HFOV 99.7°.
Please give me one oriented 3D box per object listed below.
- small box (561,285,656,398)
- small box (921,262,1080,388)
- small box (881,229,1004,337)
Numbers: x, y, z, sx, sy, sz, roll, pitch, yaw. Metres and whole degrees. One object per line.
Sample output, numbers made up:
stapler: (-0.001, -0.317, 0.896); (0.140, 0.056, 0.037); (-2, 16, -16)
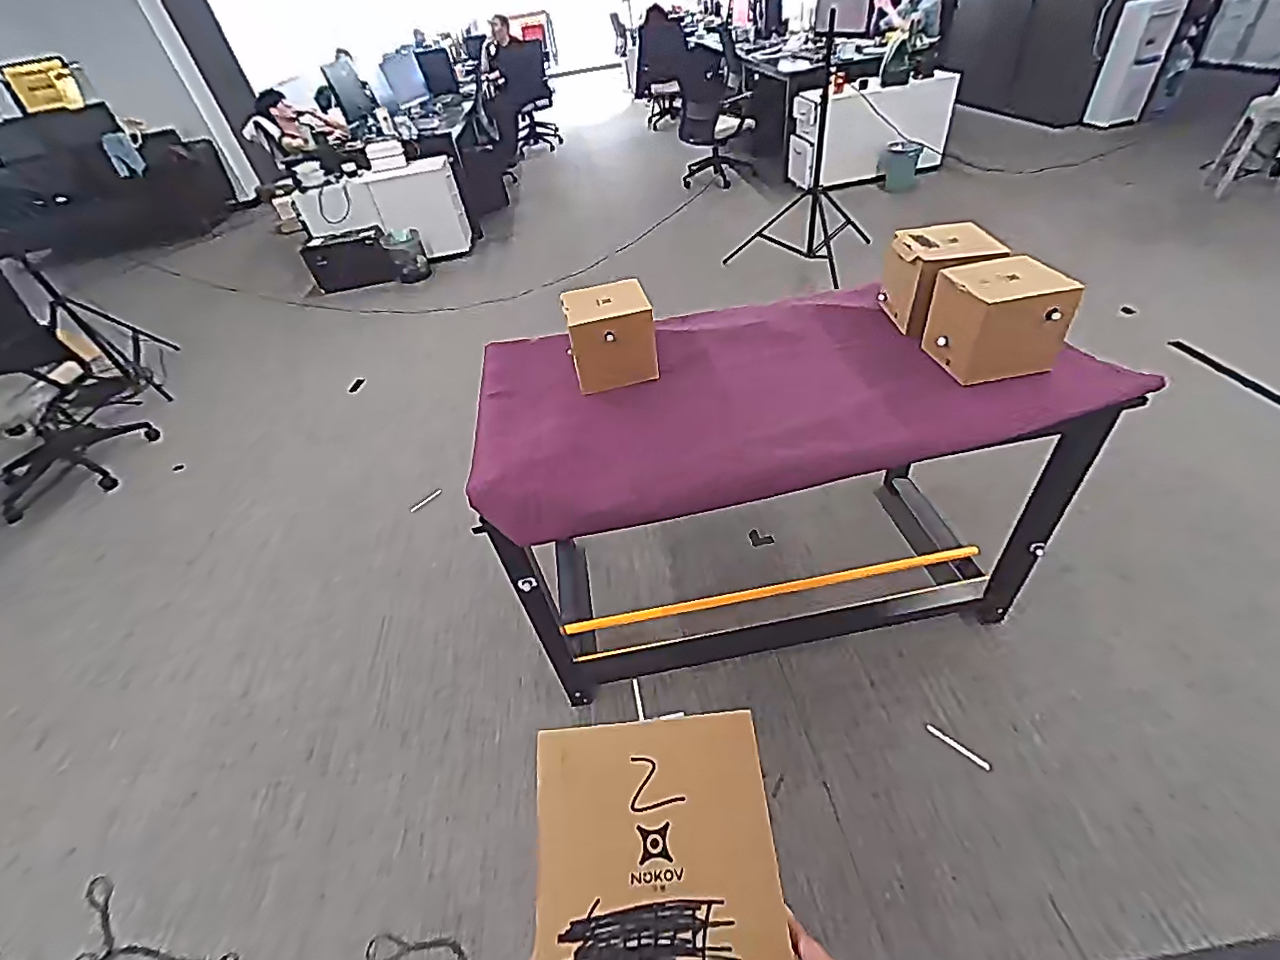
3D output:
small box: (-0.066, -0.304, 1.194); (0.179, 0.176, 0.168); (-13, 43, -4)
small box: (0.681, -0.299, 1.048); (0.179, 0.176, 0.168); (-10, 41, 1)
small box: (0.652, -0.431, 1.196); (0.179, 0.176, 0.168); (-6, 44, 2)
